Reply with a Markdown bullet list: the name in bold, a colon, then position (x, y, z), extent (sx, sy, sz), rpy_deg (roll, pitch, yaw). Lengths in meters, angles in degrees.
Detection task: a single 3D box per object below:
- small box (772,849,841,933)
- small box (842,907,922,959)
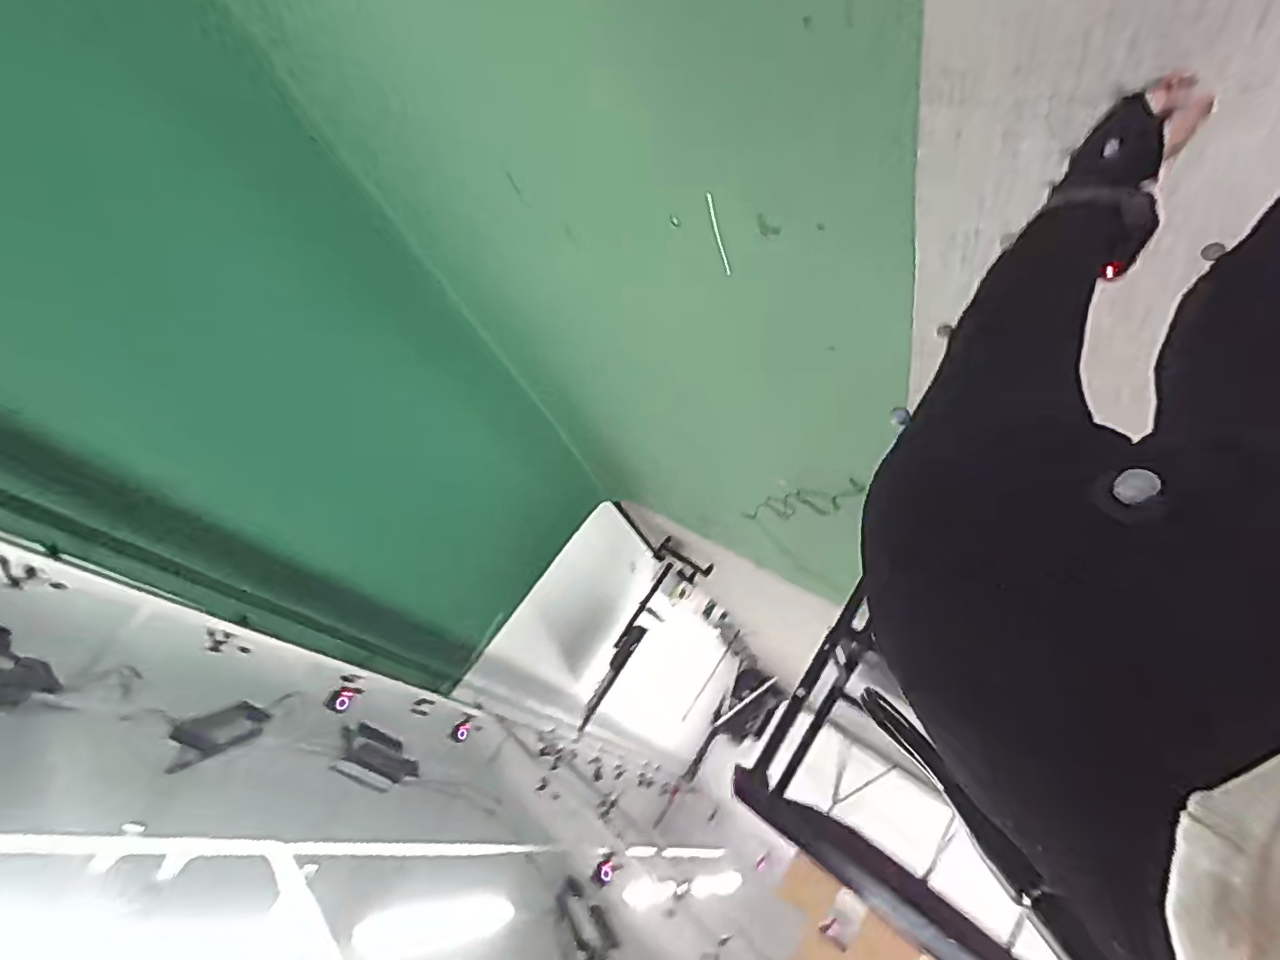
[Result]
- **small box**: position (0.583, 1.421, 1.879), extent (0.168, 0.176, 0.179), rpy_deg (26, 160, 35)
- **small box**: position (0.772, 1.507, 1.722), extent (0.179, 0.176, 0.168), rpy_deg (24, 160, 38)
